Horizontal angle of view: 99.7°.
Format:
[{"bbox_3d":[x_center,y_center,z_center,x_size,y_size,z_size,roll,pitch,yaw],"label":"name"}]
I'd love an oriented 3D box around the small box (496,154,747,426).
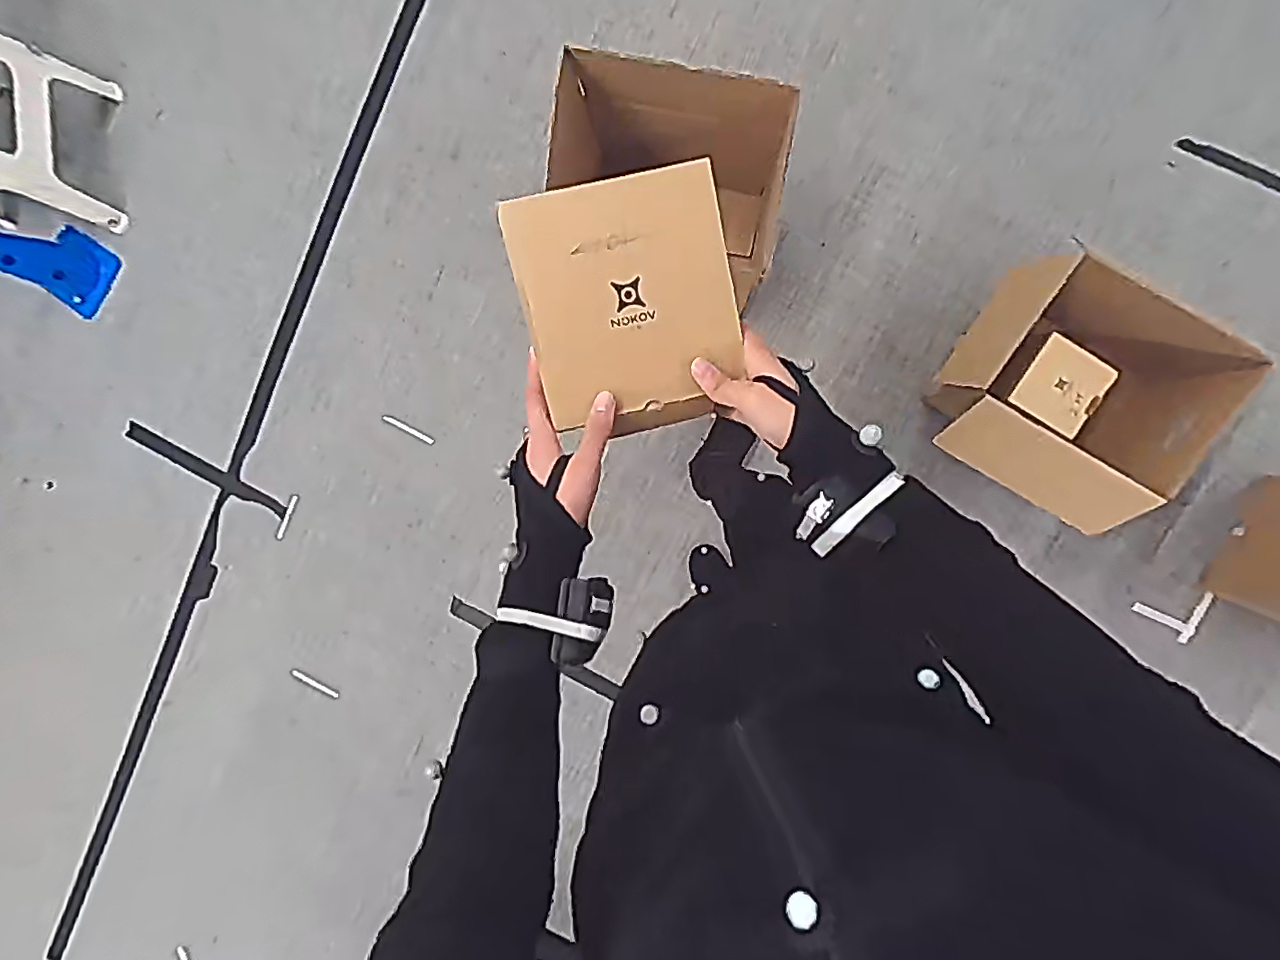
[{"bbox_3d":[-0.017,-0.158,0.494,0.168,0.176,0.179,-14,101,-4],"label":"small box"}]
